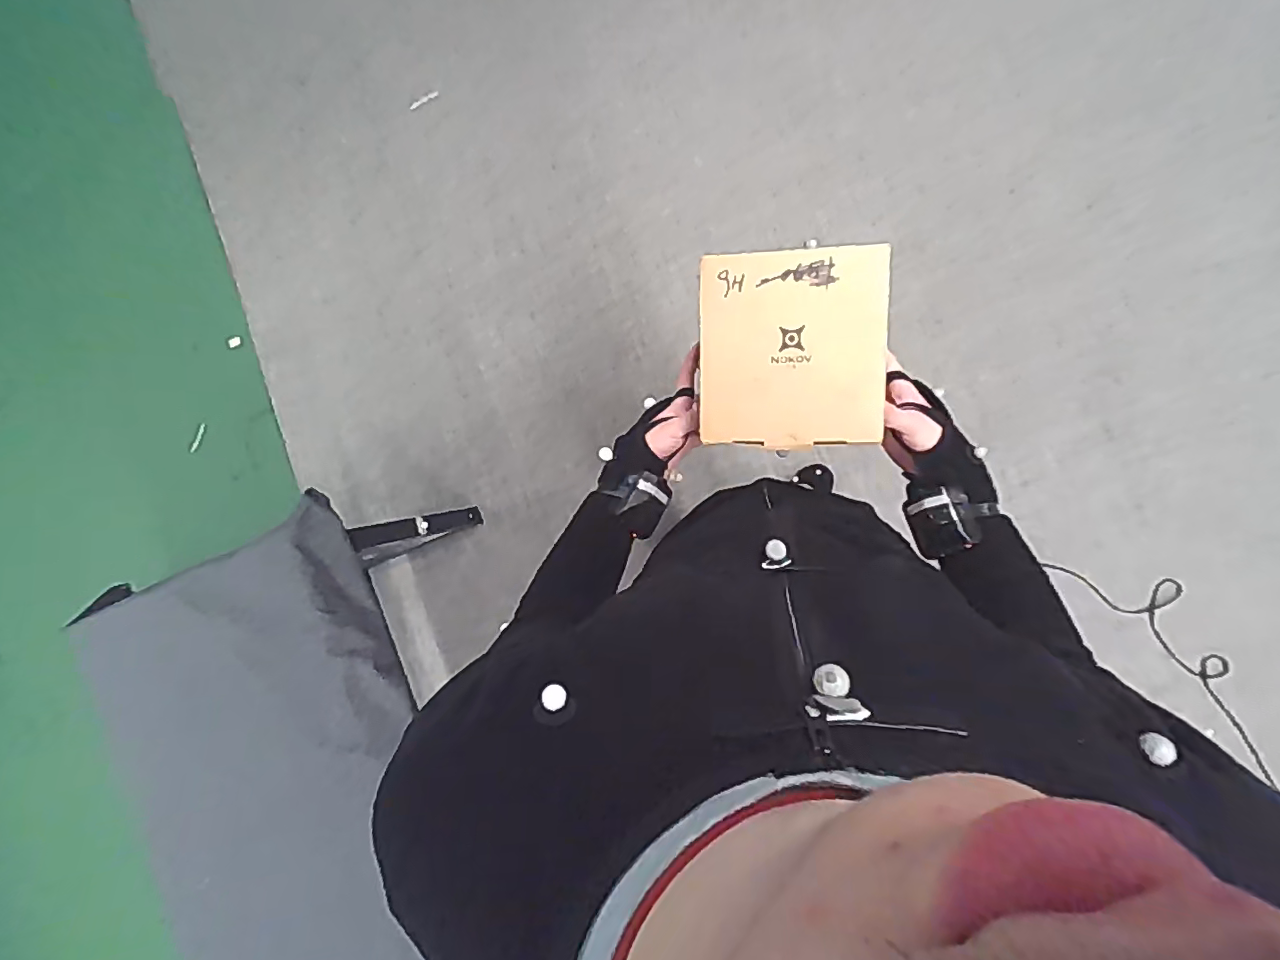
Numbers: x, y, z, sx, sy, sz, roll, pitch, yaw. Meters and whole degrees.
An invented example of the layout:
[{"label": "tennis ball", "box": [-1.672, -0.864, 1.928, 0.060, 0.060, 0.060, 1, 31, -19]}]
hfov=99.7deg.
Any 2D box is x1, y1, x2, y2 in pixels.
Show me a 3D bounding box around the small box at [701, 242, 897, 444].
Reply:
[{"label": "small box", "box": [0.154, -0.132, 0.566, 0.168, 0.176, 0.179, 1, 97, 10]}]
